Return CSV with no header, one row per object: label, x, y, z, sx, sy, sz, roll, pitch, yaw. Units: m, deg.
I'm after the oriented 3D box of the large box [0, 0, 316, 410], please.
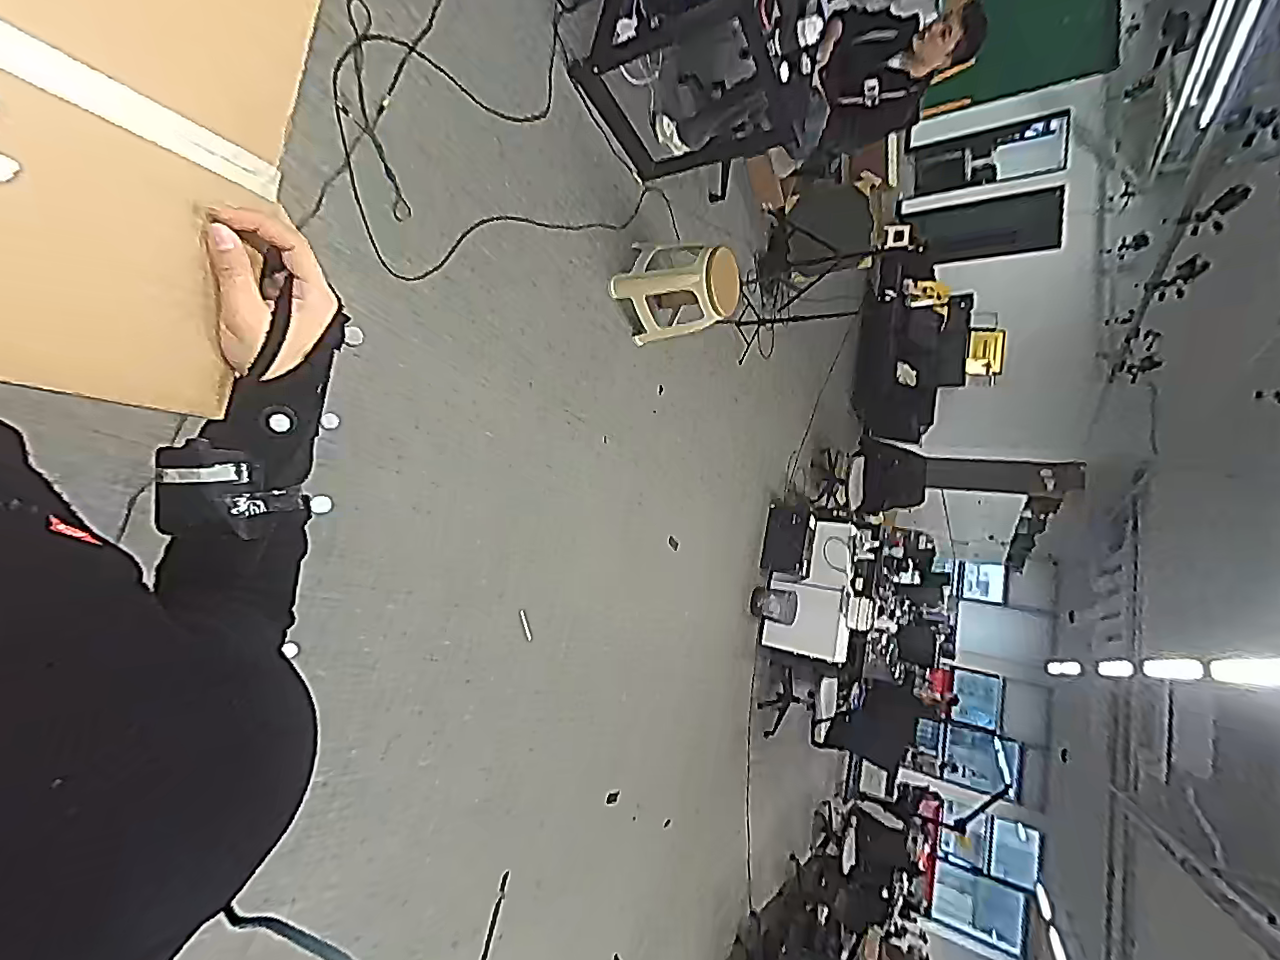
large box,-0.475,-0.241,0.283,0.408,0.320,0.320,11,93,-56
